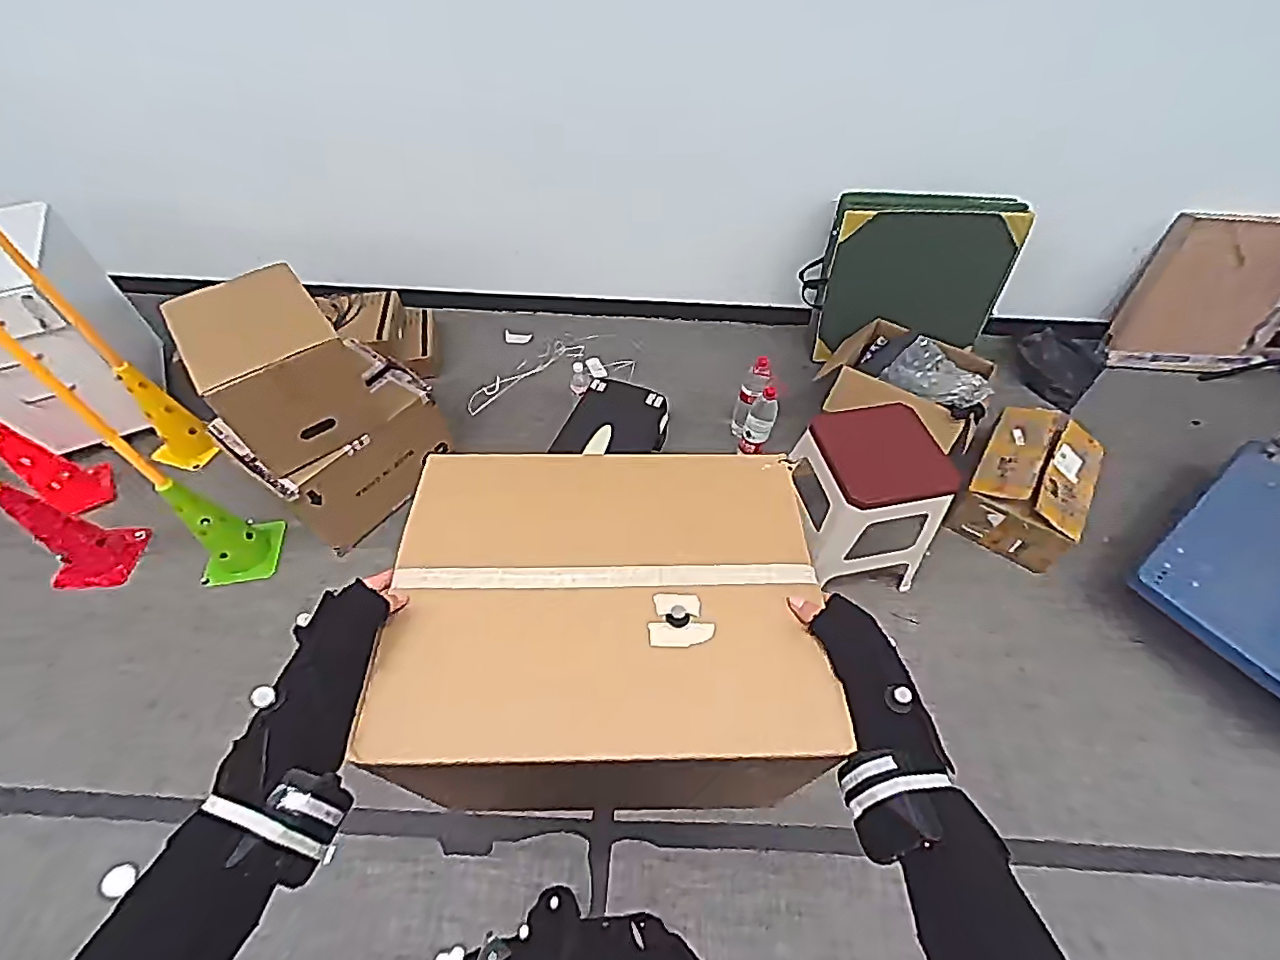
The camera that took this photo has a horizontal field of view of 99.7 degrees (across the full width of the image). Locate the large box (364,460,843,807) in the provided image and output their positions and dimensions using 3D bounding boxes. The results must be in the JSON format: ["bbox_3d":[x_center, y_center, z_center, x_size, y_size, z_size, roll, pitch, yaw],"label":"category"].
[{"bbox_3d":[-0.035,0.189,0.649,0.408,0.320,0.320,0,53,-2],"label":"large box"}]
